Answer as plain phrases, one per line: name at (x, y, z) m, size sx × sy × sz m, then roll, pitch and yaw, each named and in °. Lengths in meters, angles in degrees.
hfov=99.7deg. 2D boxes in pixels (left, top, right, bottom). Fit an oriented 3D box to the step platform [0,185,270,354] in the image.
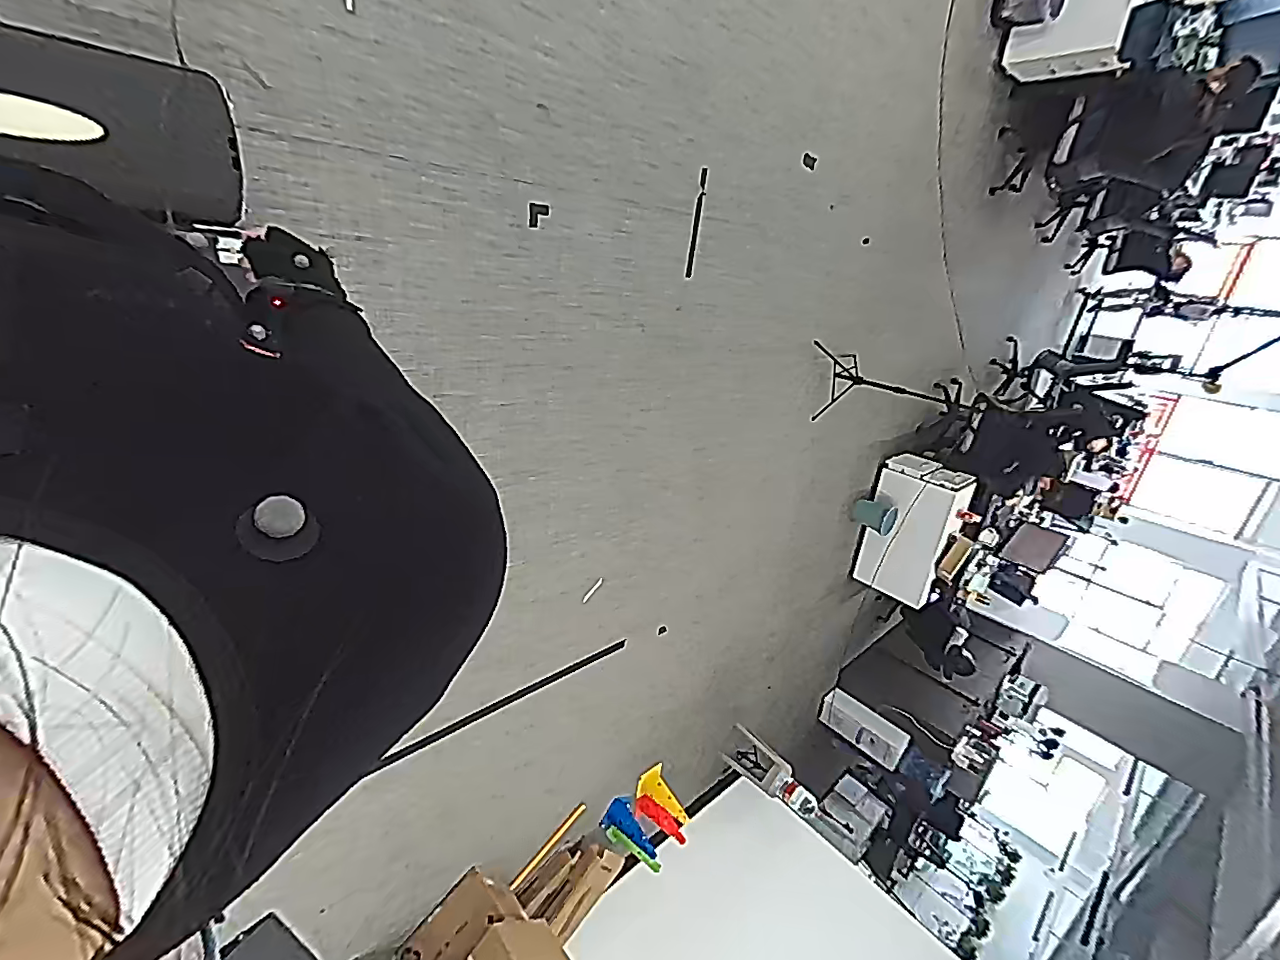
step platform at (-1.110, -0.391, 1.017) m, size 0.684 × 0.204 × 0.286 m, roll -14°, pitch 119°, yaw -39°
